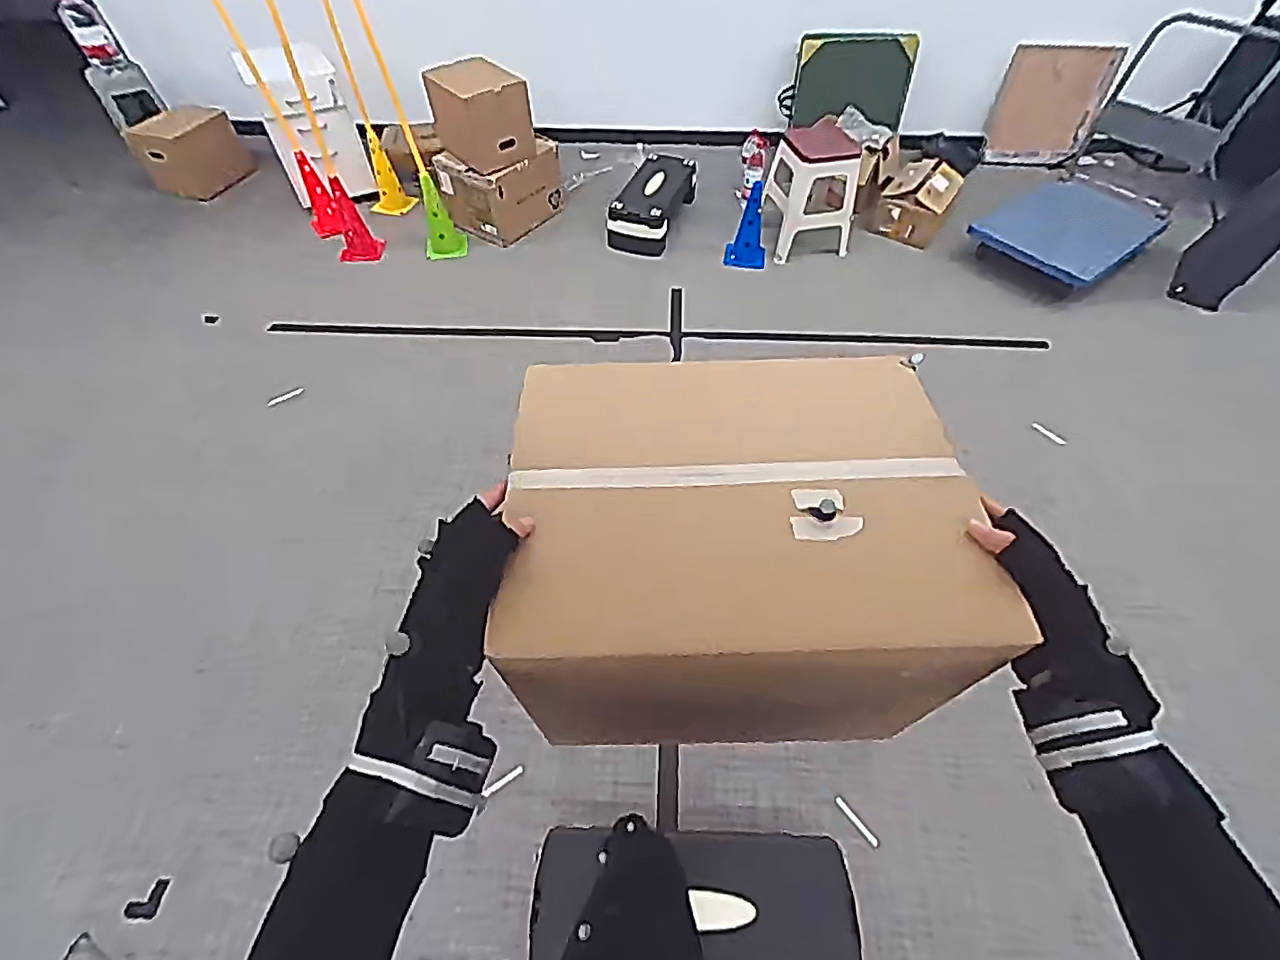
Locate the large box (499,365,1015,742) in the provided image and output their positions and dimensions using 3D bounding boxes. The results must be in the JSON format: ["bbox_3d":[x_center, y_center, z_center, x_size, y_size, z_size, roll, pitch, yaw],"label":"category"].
[{"bbox_3d":[0.084,0.092,0.614,0.408,0.320,0.320,-1,53,-1],"label":"large box"}]
